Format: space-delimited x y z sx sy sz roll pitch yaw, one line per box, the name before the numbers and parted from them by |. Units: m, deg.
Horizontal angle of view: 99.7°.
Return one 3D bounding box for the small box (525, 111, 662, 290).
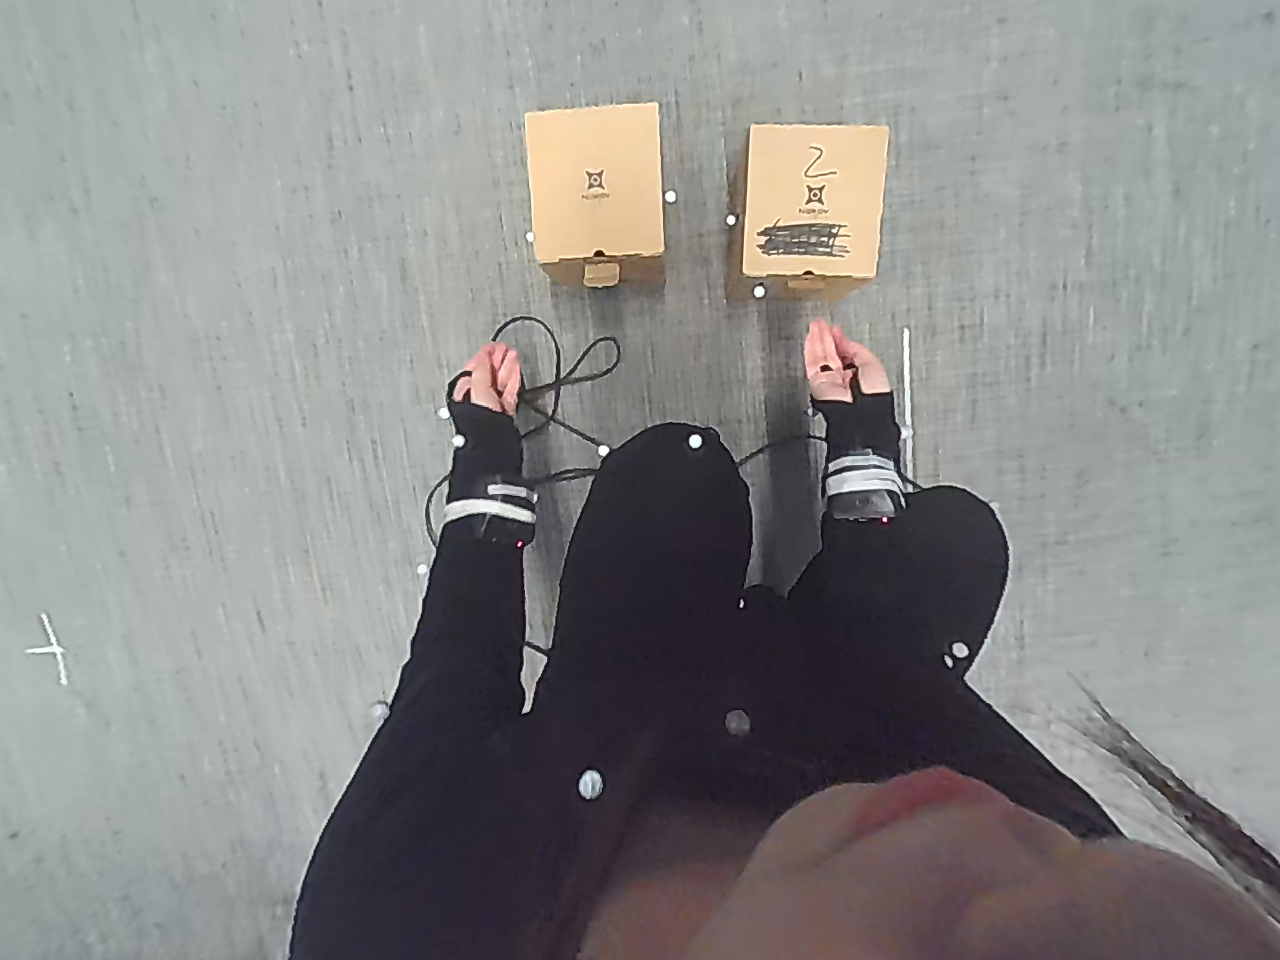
small box | -0.055 -0.372 0.750 0.168 0.176 0.179 -2 100 3
